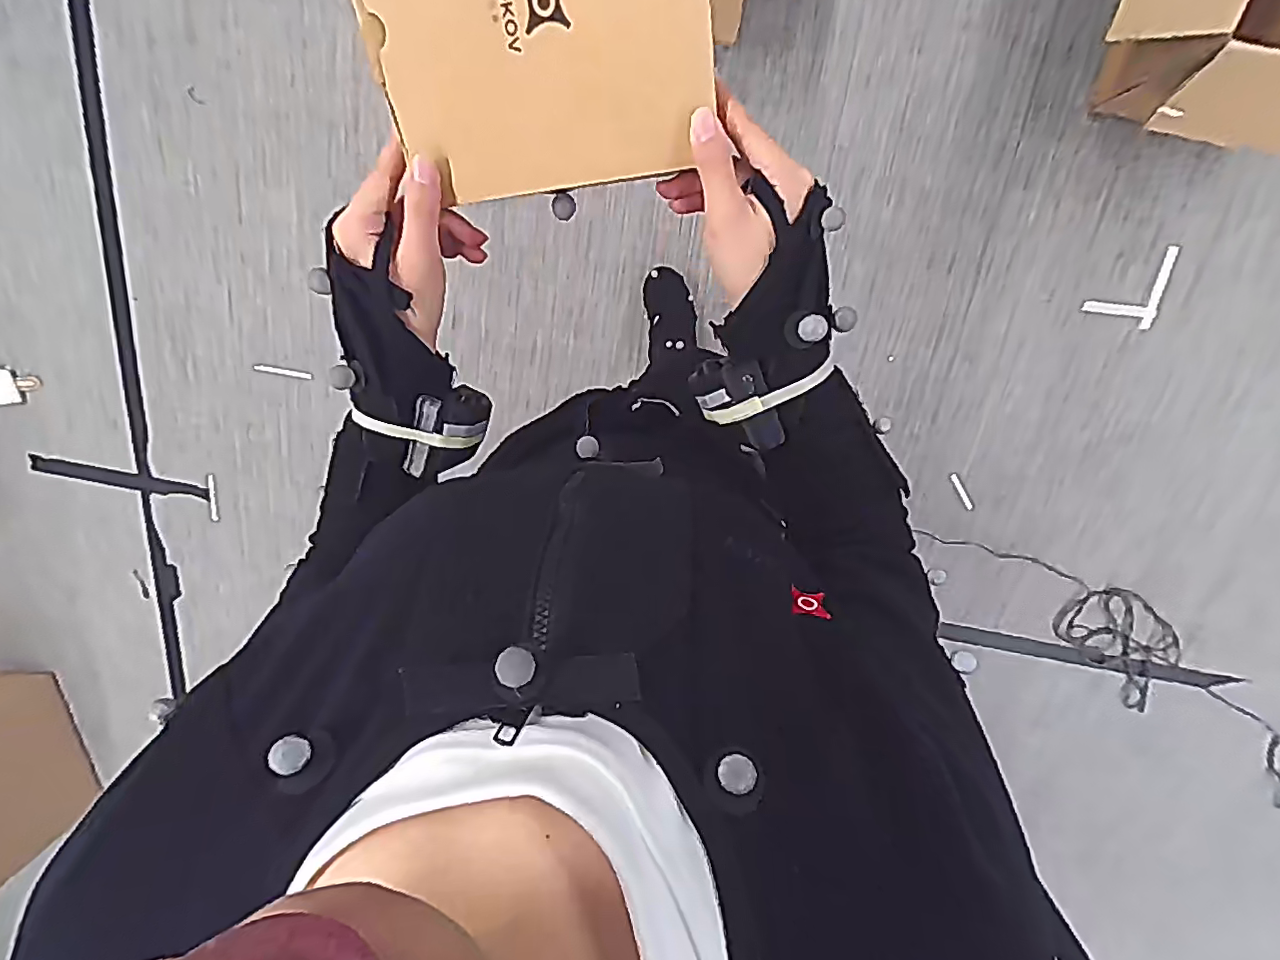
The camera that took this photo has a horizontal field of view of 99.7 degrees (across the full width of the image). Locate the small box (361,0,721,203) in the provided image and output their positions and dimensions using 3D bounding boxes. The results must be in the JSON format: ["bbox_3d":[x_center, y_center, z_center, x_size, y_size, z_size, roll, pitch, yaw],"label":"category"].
[{"bbox_3d":[-0.052,-0.279,0.335,0.179,0.176,0.168,-7,119,4],"label":"small box"}]
